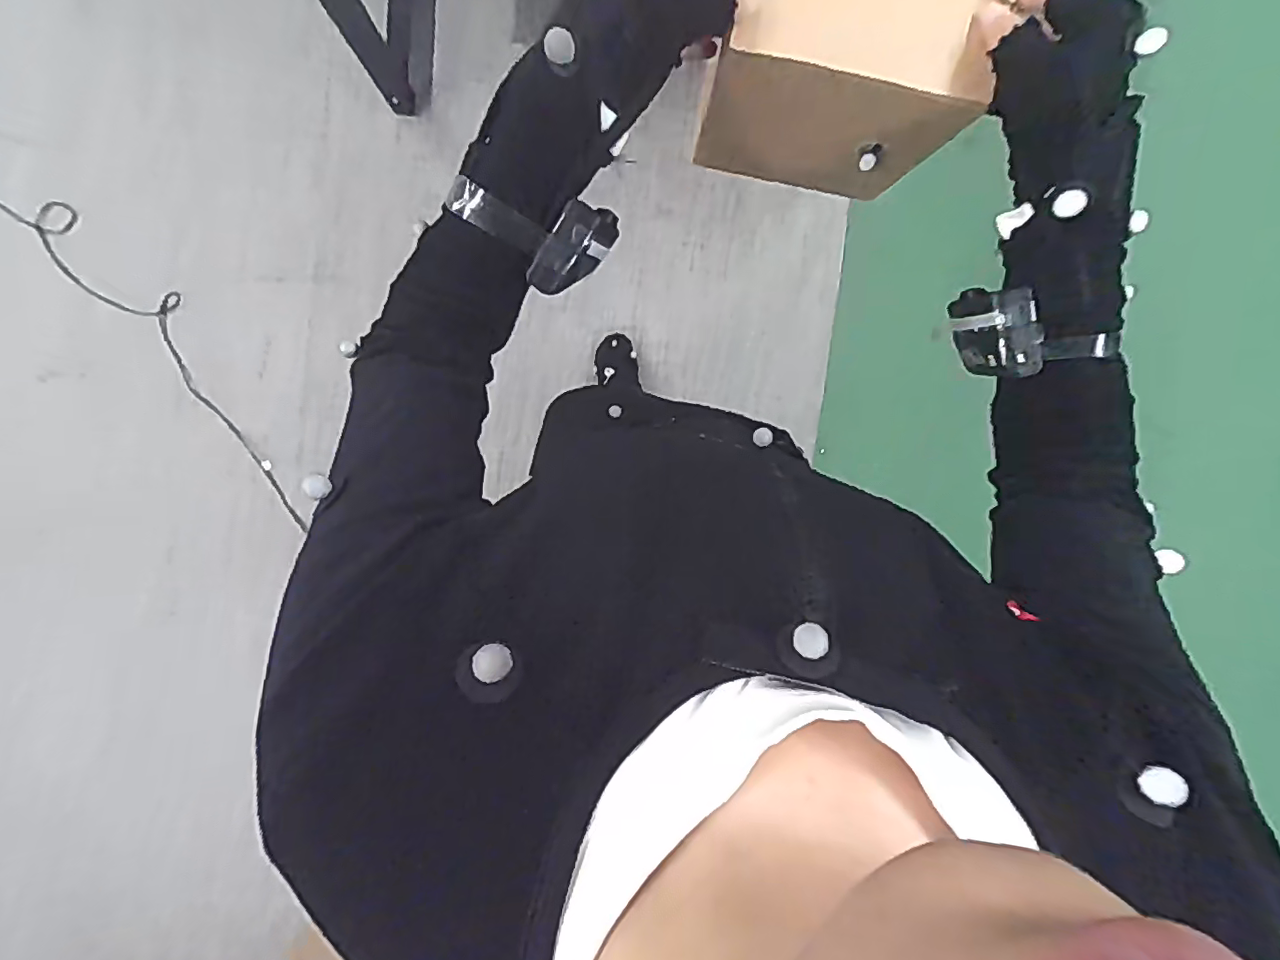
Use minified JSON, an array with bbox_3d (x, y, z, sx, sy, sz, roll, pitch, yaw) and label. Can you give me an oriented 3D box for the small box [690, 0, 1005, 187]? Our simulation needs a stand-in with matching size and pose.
[{"bbox_3d":[0.144,-0.348,0.409,0.179,0.176,0.168,9,96,-2],"label":"small box"}]
